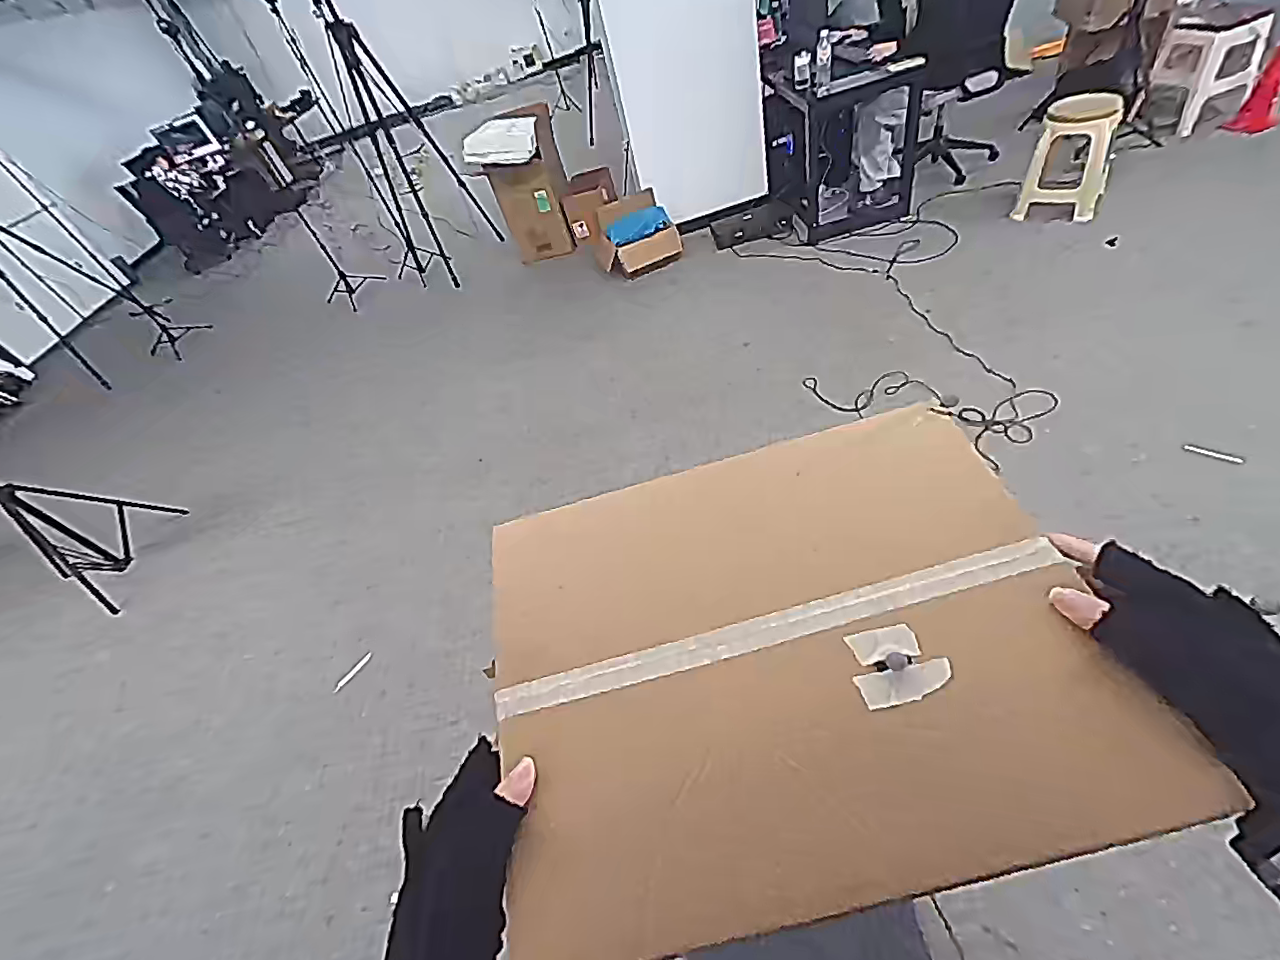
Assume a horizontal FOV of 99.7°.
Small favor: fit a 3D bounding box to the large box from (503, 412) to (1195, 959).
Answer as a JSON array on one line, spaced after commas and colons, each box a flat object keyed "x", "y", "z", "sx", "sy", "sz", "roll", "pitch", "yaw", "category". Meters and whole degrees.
[{"x": 0.123, "y": 0.198, "z": 0.516, "sx": 0.408, "sy": 0.320, "sz": 0.320, "roll": -16, "pitch": 53, "yaw": 2, "category": "large box"}]
